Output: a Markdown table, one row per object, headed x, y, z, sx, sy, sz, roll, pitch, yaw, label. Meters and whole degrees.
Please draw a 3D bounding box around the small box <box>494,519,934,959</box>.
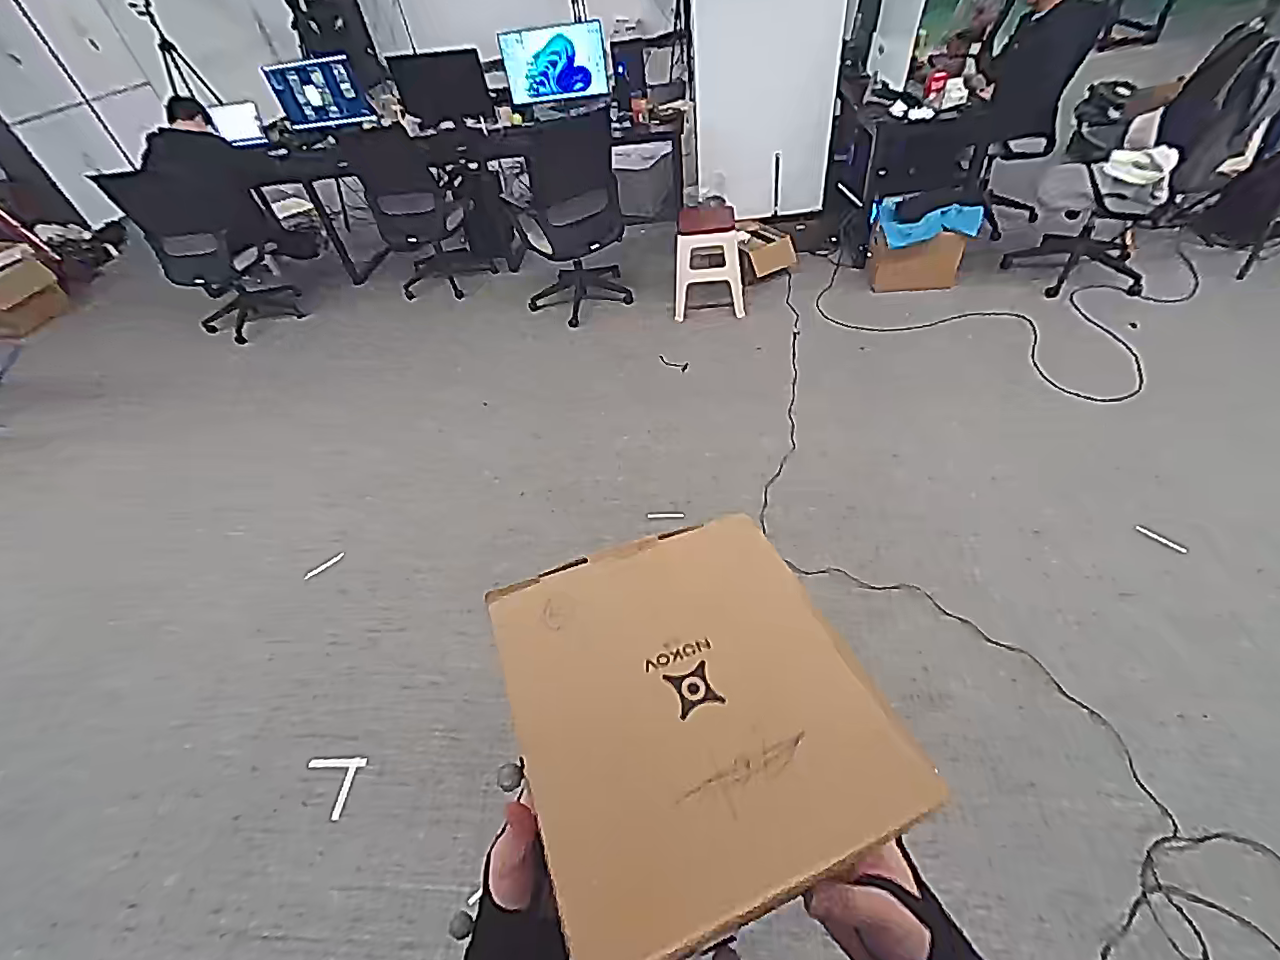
| x | y | z | sx | sy | sz | roll | pitch | yaw | label |
| --- | --- | --- | --- | --- | --- | --- | --- | --- | --- |
| 0.022 | 0.158 | 0.327 | 0.168 | 0.176 | 0.179 | -17 | 48 | -18 | small box |
